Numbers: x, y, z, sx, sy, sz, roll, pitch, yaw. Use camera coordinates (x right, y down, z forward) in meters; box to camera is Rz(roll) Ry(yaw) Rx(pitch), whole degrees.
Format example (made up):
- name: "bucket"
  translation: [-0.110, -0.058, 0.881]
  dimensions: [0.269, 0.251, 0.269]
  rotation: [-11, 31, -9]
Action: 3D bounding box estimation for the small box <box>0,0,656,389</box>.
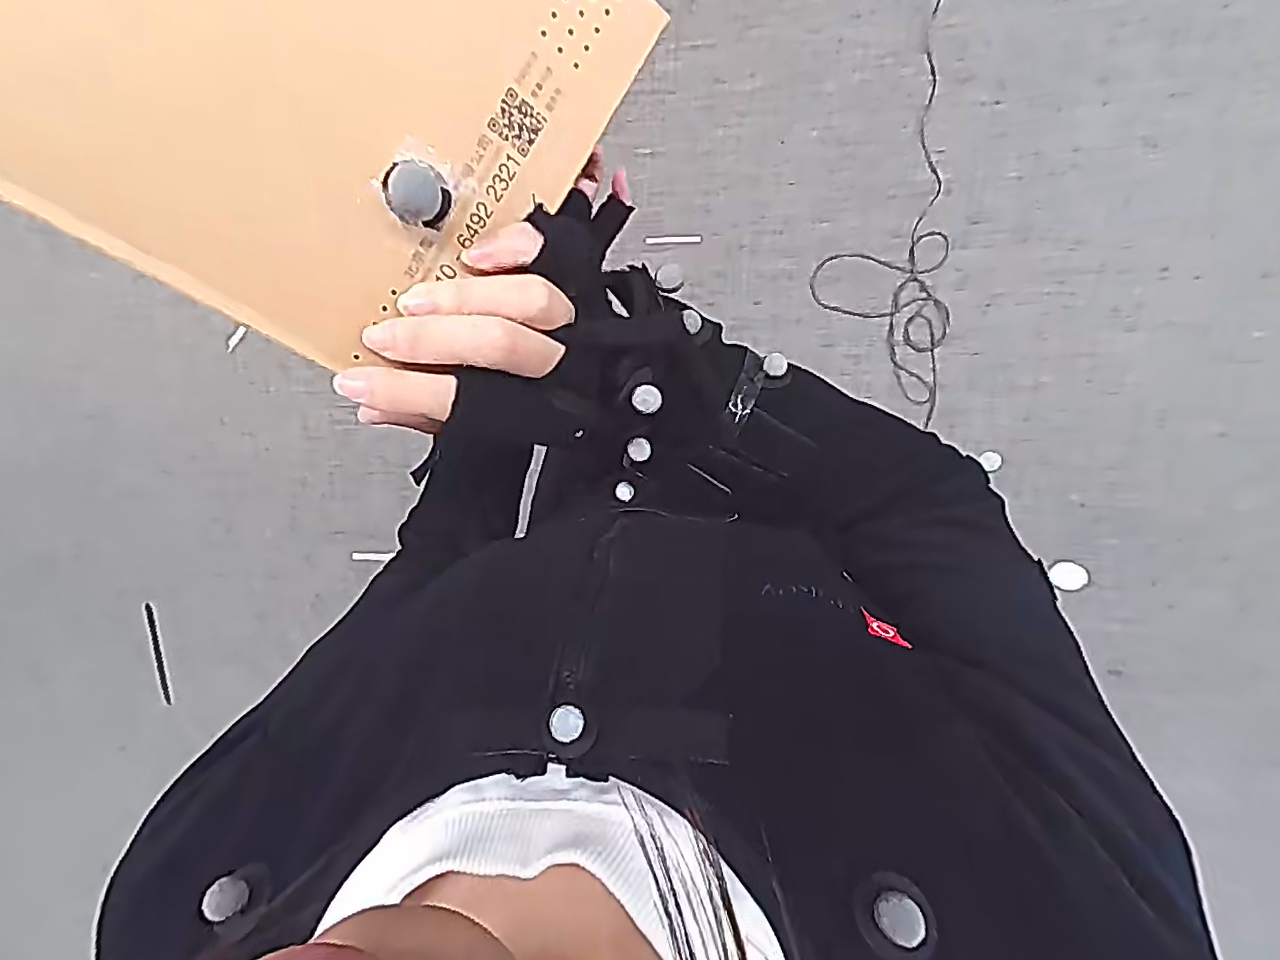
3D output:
- name: "small box"
  translation: [-0.123, -0.160, 0.247]
  dimensions: [0.176, 0.179, 0.168]
  rotation: [29, 96, -28]
